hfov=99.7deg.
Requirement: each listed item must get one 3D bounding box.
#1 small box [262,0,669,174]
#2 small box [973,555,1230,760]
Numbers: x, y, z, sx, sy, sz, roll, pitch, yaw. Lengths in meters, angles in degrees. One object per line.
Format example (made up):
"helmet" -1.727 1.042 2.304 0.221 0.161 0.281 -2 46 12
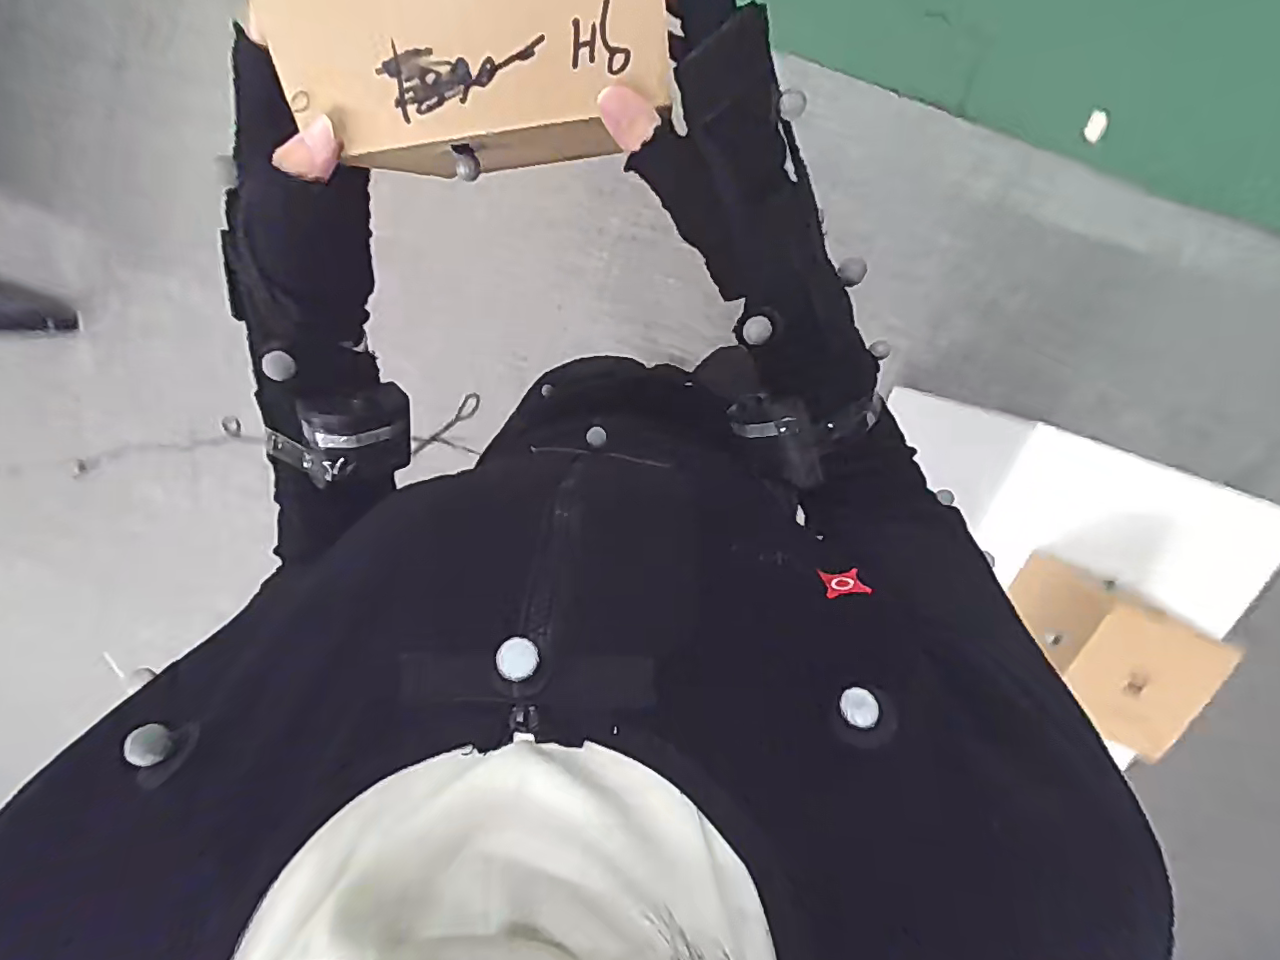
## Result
"small box" -0.083 -0.274 0.278 0.168 0.176 0.179 -10 117 4
"small box" 0.602 0.228 0.738 0.168 0.176 0.179 22 107 1
